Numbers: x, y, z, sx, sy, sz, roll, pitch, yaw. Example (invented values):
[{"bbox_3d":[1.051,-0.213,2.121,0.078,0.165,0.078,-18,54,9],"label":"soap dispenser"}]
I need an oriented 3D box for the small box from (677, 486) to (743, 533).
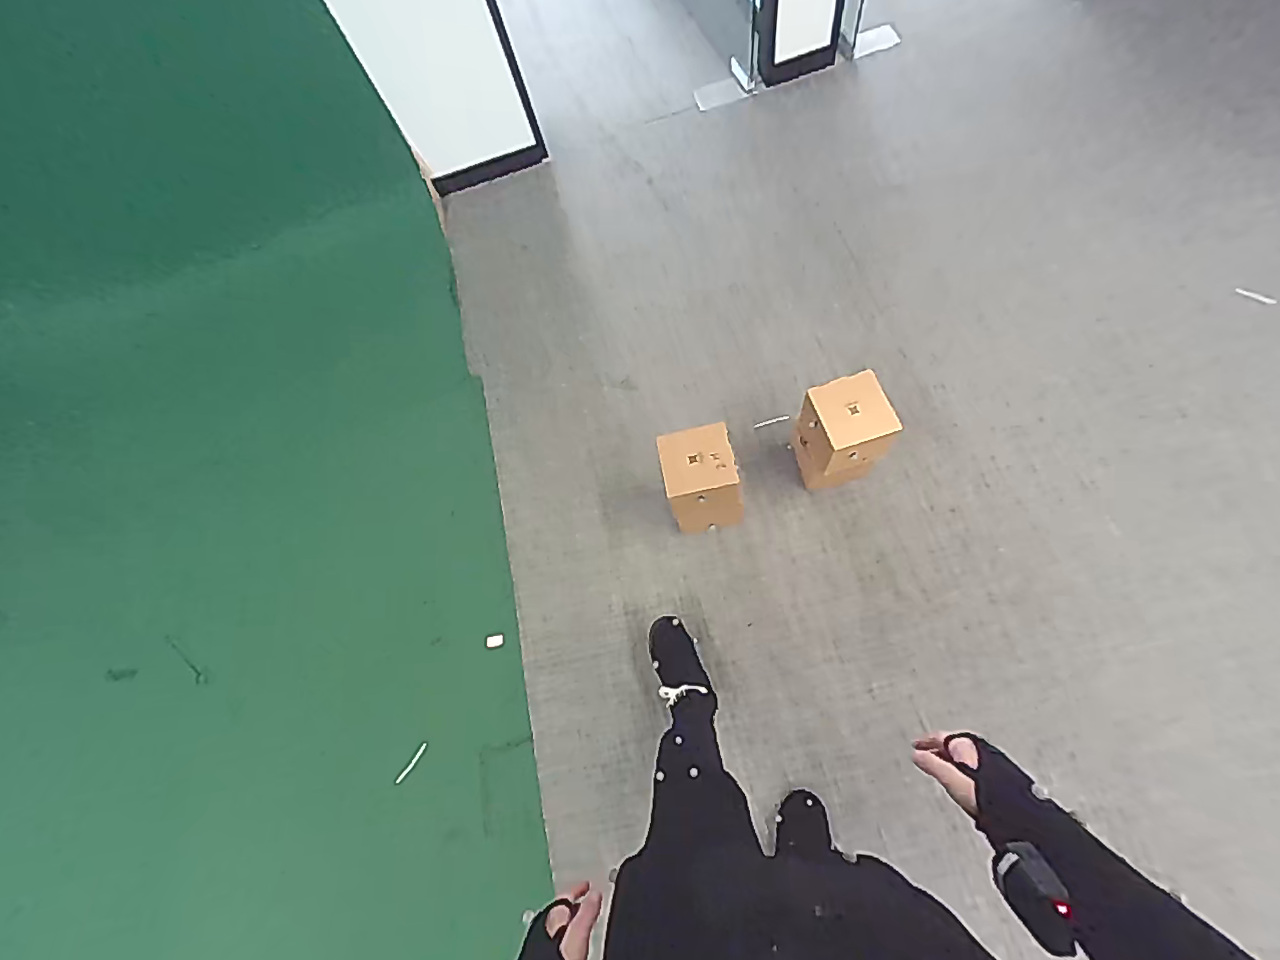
[{"bbox_3d":[0.181,0.037,1.513,0.179,0.176,0.168,-13,67,4],"label":"small box"}]

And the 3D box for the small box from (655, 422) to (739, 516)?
[{"bbox_3d":[0.147,-0.020,1.362,0.179,0.176,0.168,-12,68,5],"label":"small box"}]

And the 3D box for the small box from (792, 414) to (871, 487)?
[{"bbox_3d":[0.531,-0.095,1.502,0.179,0.176,0.168,-14,68,4],"label":"small box"}]

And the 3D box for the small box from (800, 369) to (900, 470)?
[{"bbox_3d":[0.514,-0.140,1.347,0.168,0.176,0.179,-18,66,3],"label":"small box"}]
